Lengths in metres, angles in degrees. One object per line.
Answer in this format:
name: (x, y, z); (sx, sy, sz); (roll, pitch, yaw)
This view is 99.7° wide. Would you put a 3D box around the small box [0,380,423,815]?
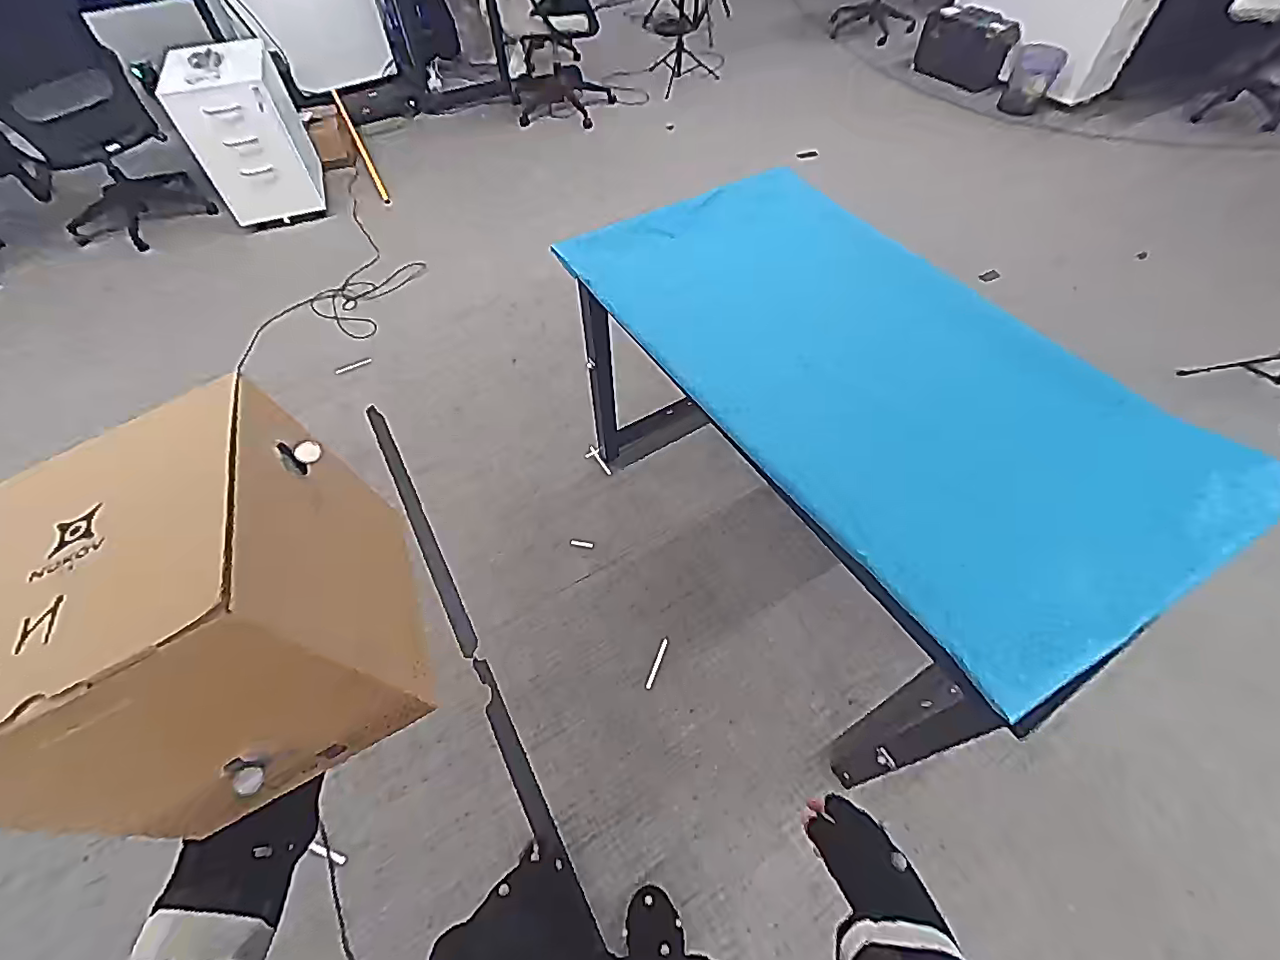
small box: (-0.259, 0.079, 0.331); (0.168, 0.176, 0.179); (-26, 55, -1)
